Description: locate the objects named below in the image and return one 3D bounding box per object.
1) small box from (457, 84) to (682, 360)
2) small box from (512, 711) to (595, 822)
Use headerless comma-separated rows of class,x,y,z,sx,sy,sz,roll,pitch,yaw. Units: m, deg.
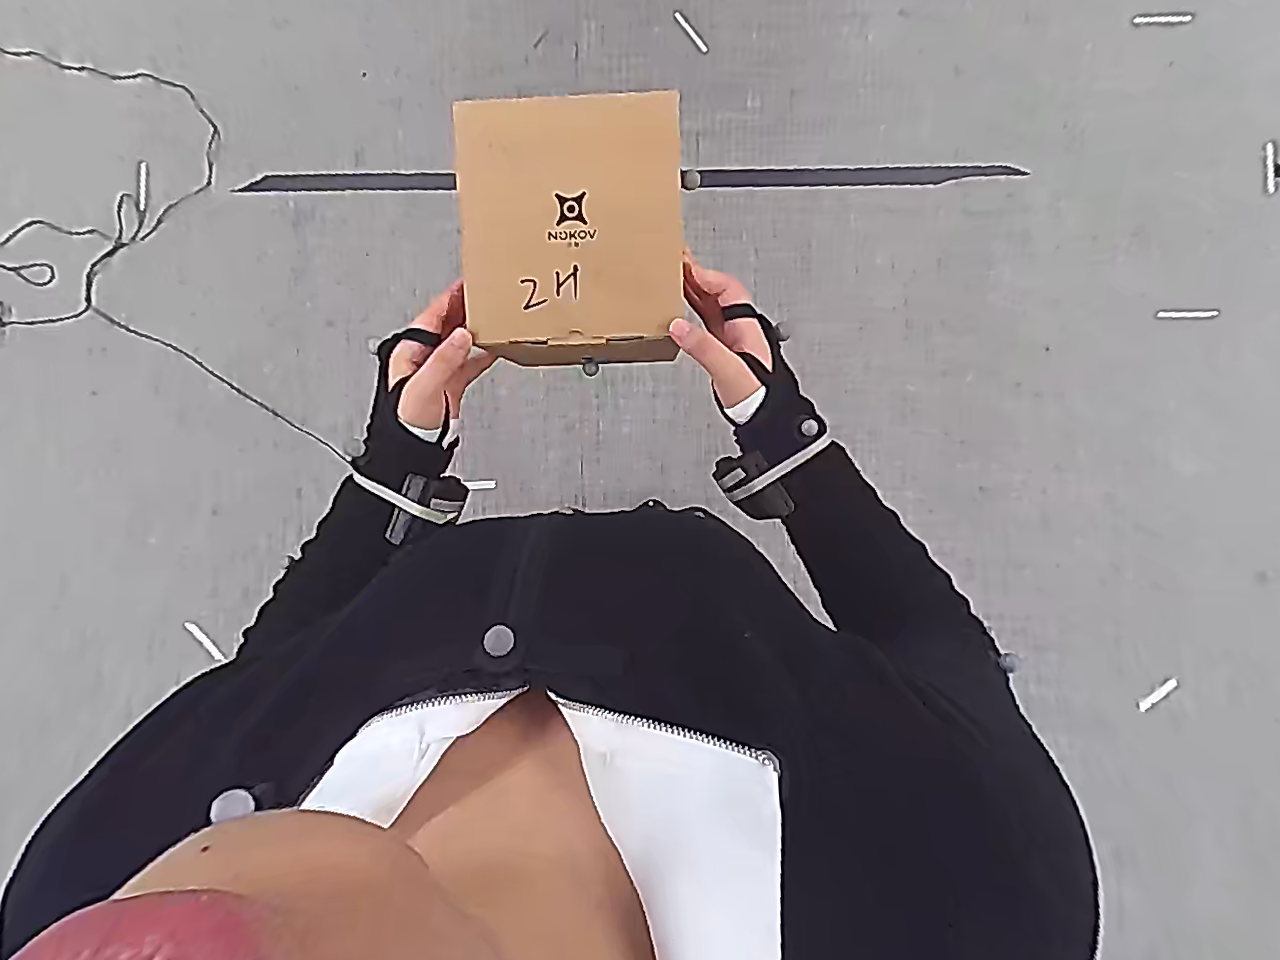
small box,-0.050,-0.207,0.480,0.168,0.176,0.179,-1,96,2
small box,-0.203,0.686,1.310,0.168,0.176,0.179,3,89,2
